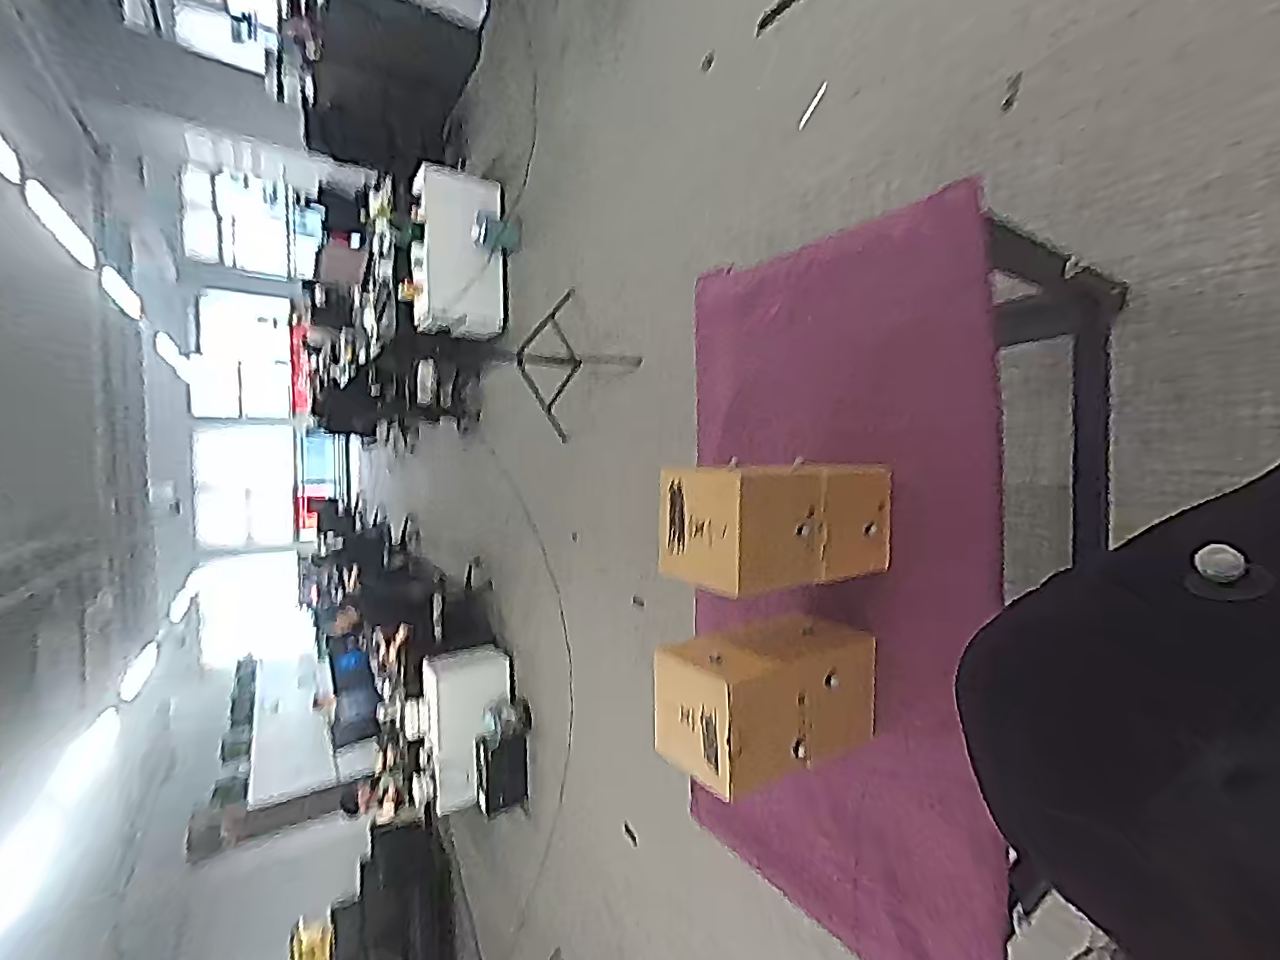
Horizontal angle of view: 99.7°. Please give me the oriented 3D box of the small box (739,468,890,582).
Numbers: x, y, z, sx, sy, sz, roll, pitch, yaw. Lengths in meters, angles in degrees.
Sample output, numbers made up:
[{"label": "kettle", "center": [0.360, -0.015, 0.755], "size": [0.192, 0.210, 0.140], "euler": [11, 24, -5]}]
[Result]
[{"label": "small box", "center": [0.286, 0.065, 0.902], "size": [0.179, 0.176, 0.168], "euler": [4, 95, 56]}]

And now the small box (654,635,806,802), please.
[{"label": "small box", "center": [0.140, 0.351, 0.838], "size": [0.179, 0.176, 0.168], "euler": [1, 92, 57]}]

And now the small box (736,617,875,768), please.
[{"label": "small box", "center": [0.280, 0.346, 0.924], "size": [0.168, 0.176, 0.179], "euler": [4, 95, 56]}]
